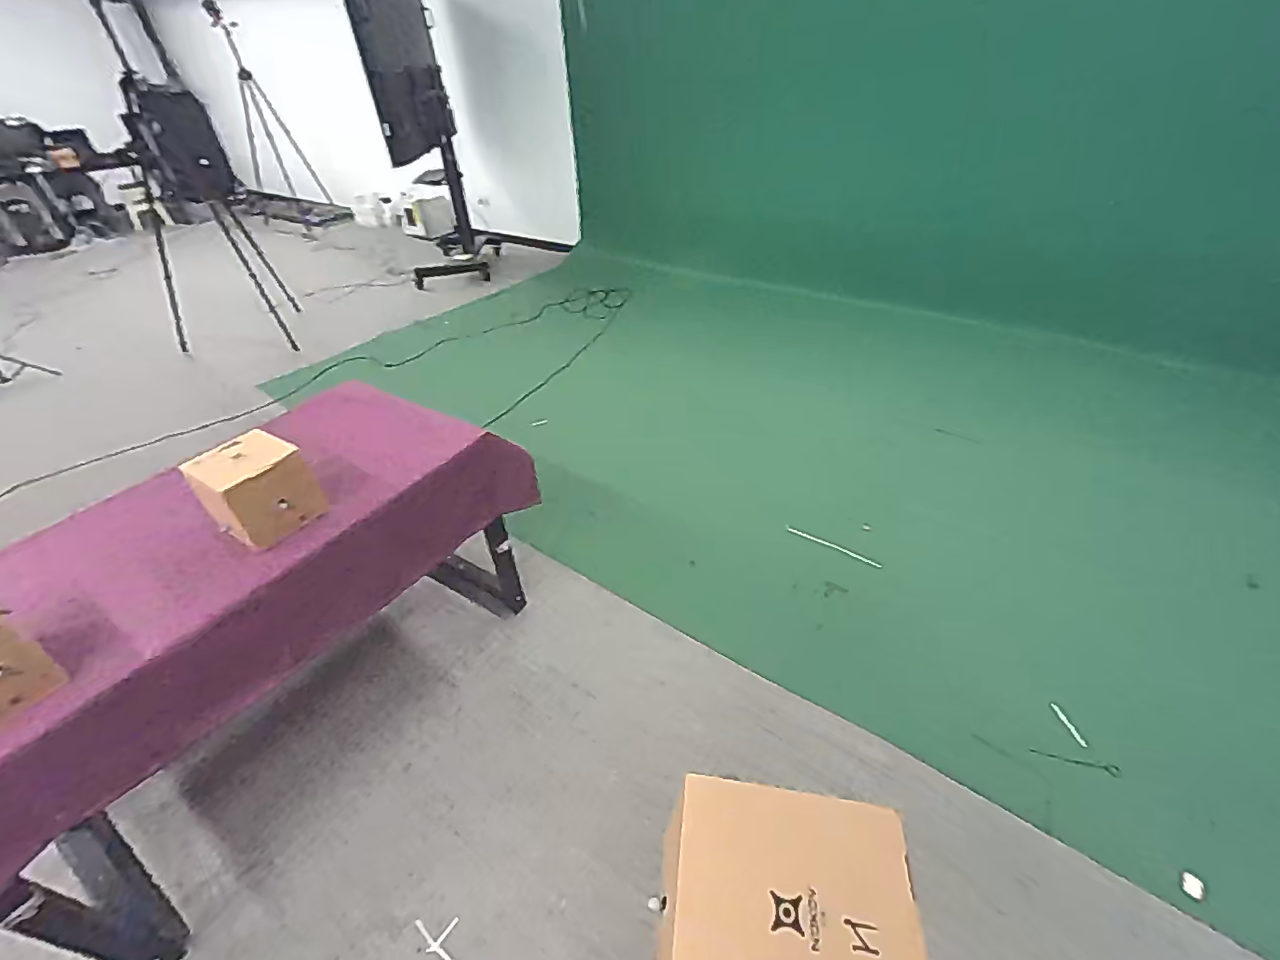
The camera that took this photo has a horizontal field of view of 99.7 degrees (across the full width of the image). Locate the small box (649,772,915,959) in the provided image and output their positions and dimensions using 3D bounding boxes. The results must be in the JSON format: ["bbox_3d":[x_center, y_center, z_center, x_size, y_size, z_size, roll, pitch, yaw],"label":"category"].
[{"bbox_3d":[0.100,0.366,0.439,0.179,0.176,0.168,8,44,3],"label":"small box"}]

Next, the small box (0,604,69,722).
[{"bbox_3d":[-1.064,0.288,0.840,0.179,0.176,0.168,19,42,26],"label":"small box"}]

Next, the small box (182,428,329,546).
[{"bbox_3d":[-0.816,0.018,1.165,0.179,0.176,0.168,21,44,26],"label":"small box"}]
